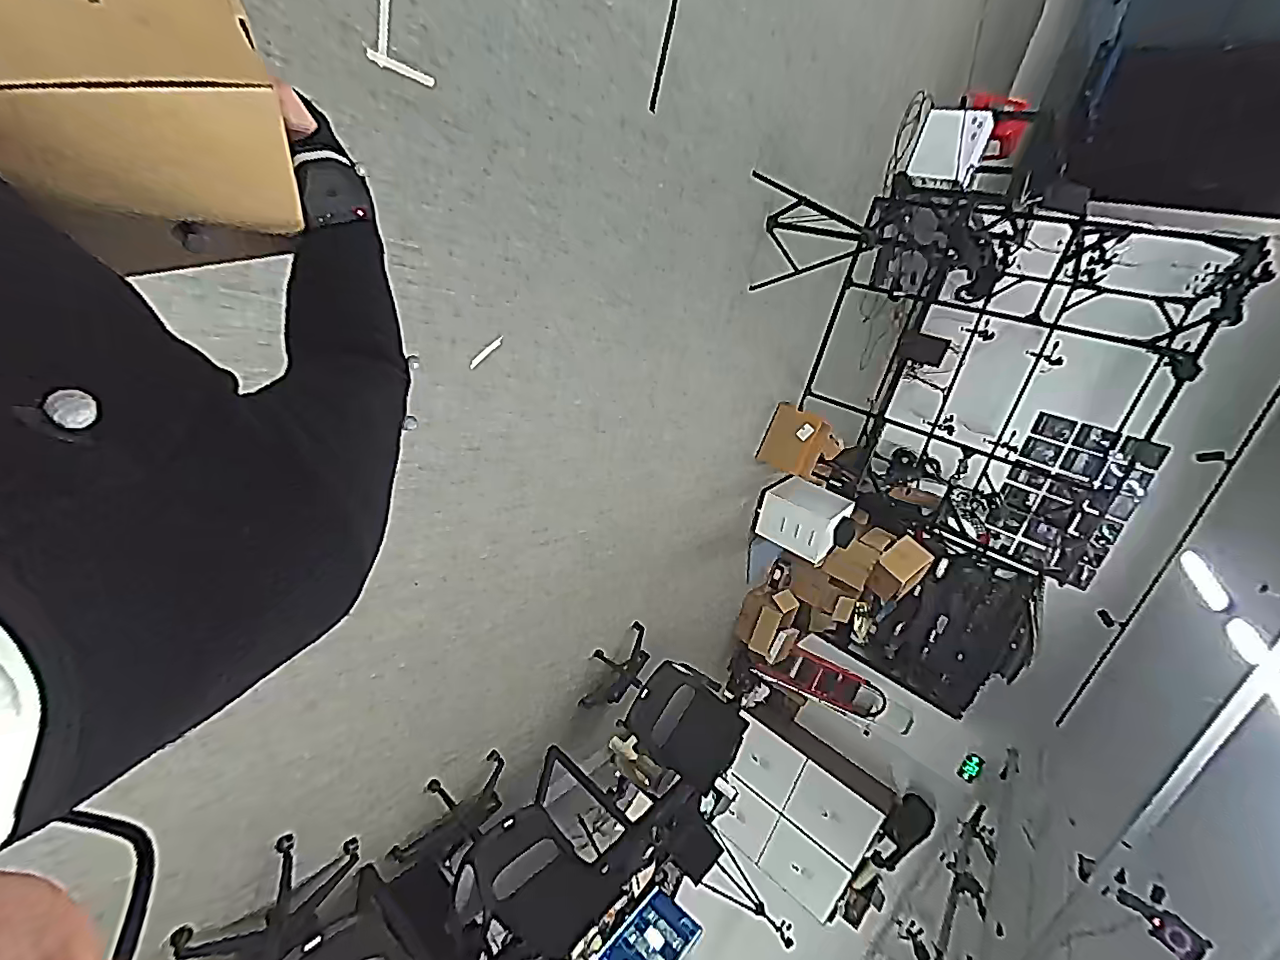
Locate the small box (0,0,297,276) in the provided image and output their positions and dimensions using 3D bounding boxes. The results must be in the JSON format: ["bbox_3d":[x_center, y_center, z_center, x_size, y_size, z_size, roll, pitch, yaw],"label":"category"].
[{"bbox_3d":[-0.397,-0.290,0.426,0.179,0.168,0.176,-25,172,-29],"label":"small box"}]
